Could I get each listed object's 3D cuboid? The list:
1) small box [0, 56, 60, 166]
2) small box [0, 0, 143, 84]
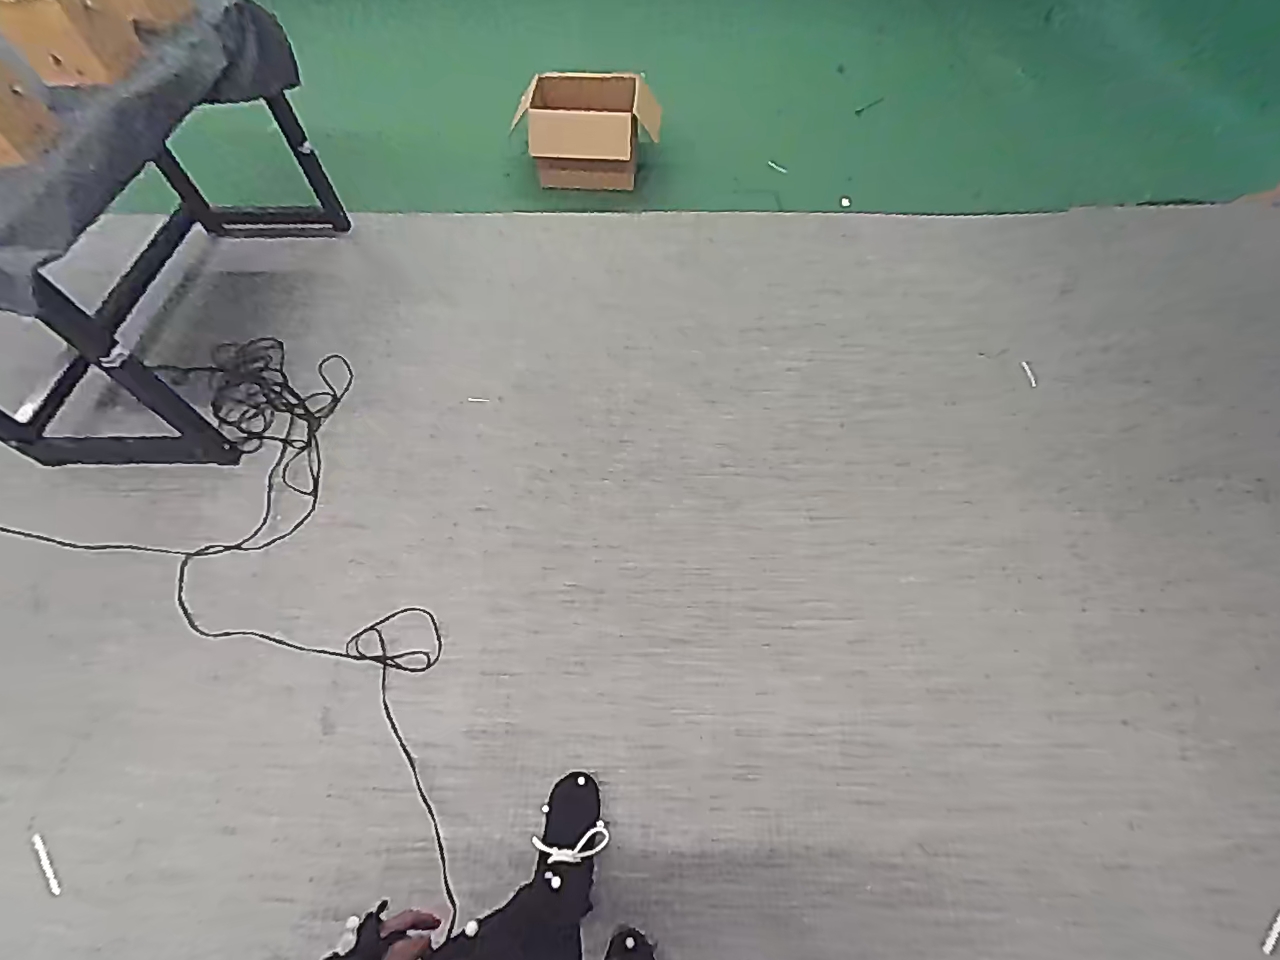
[{"bbox_3d":[-1.331,-0.740,1.066,0.179,0.176,0.168,-9,57,-4],"label":"small box"},{"bbox_3d":[-1.329,-1.059,1.263,0.168,0.176,0.179,-2,59,-1],"label":"small box"}]
